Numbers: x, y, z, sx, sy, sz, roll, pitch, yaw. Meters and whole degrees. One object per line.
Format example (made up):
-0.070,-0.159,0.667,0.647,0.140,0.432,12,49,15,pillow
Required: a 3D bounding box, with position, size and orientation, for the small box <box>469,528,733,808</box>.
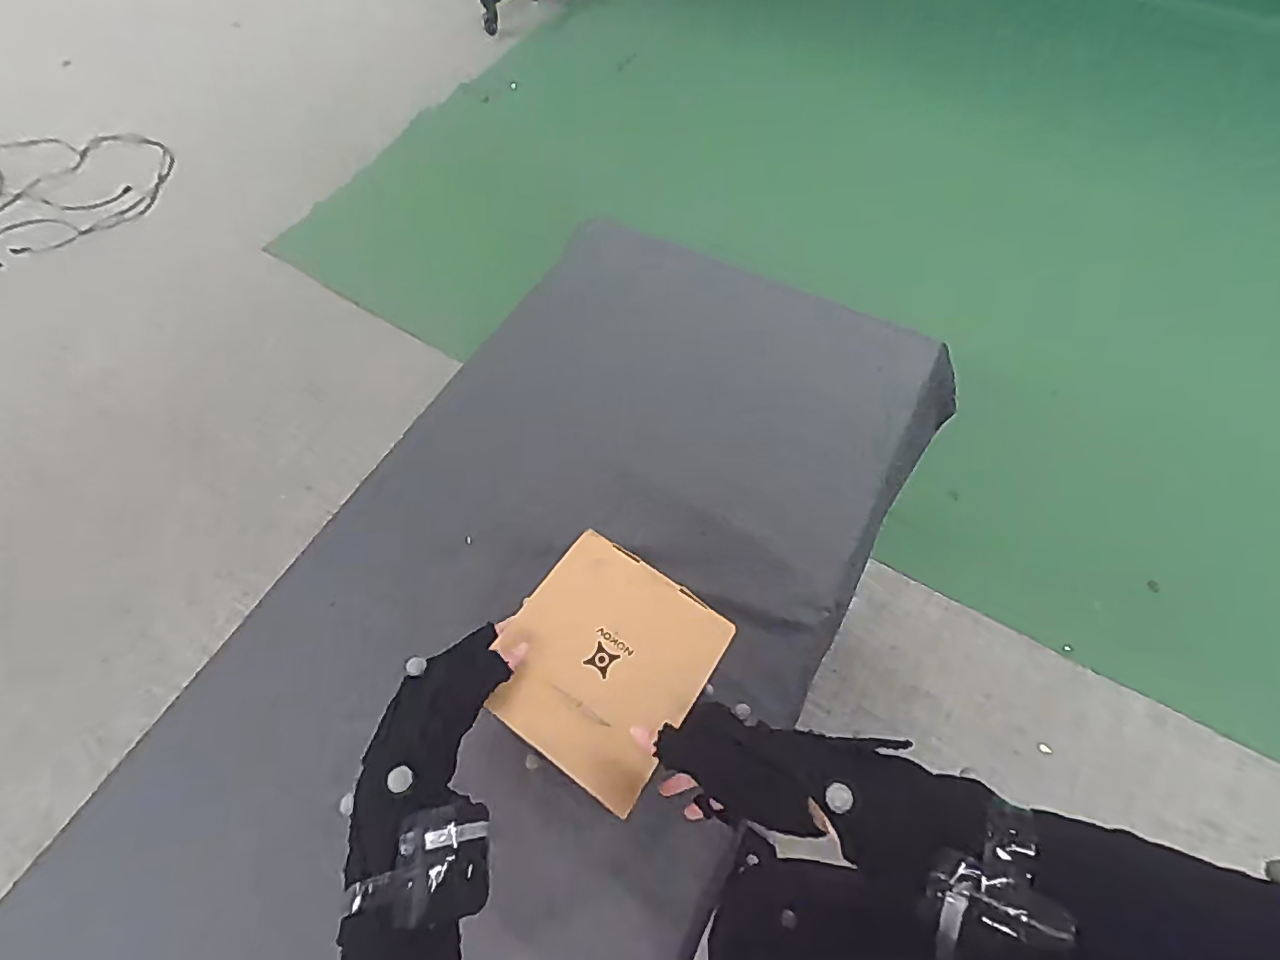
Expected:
-0.035,0.185,0.532,0.168,0.176,0.179,32,64,13,small box
